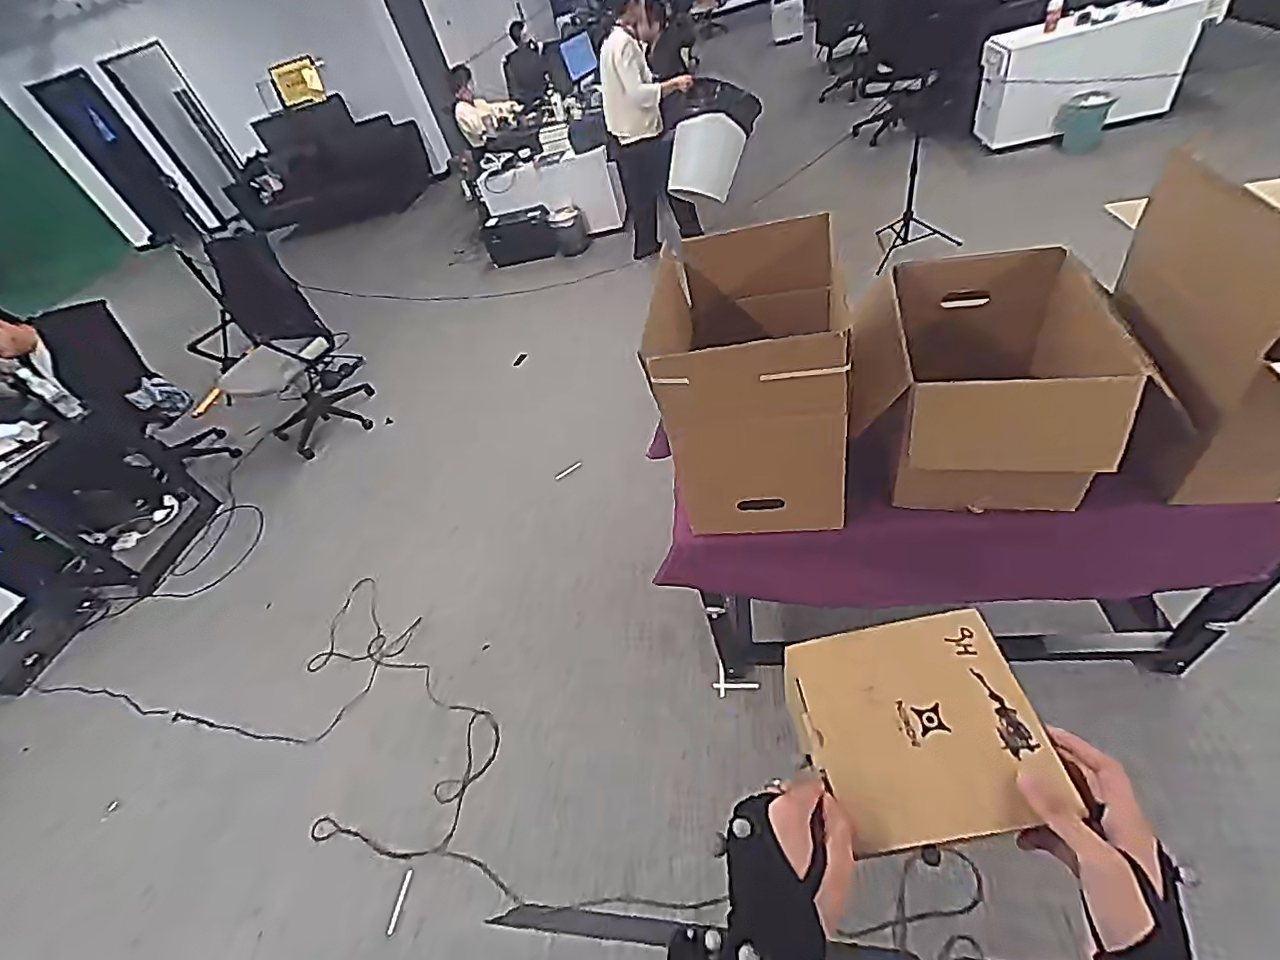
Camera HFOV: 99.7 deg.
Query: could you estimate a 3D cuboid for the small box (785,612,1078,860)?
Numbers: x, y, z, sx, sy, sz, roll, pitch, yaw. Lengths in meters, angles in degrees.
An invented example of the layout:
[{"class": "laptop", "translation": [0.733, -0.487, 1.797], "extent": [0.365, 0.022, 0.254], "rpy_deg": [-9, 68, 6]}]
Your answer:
[{"class": "small box", "translation": [0.246, 0.248, 0.511], "extent": [0.179, 0.176, 0.168], "rpy_deg": [-13, 52, 6]}]
